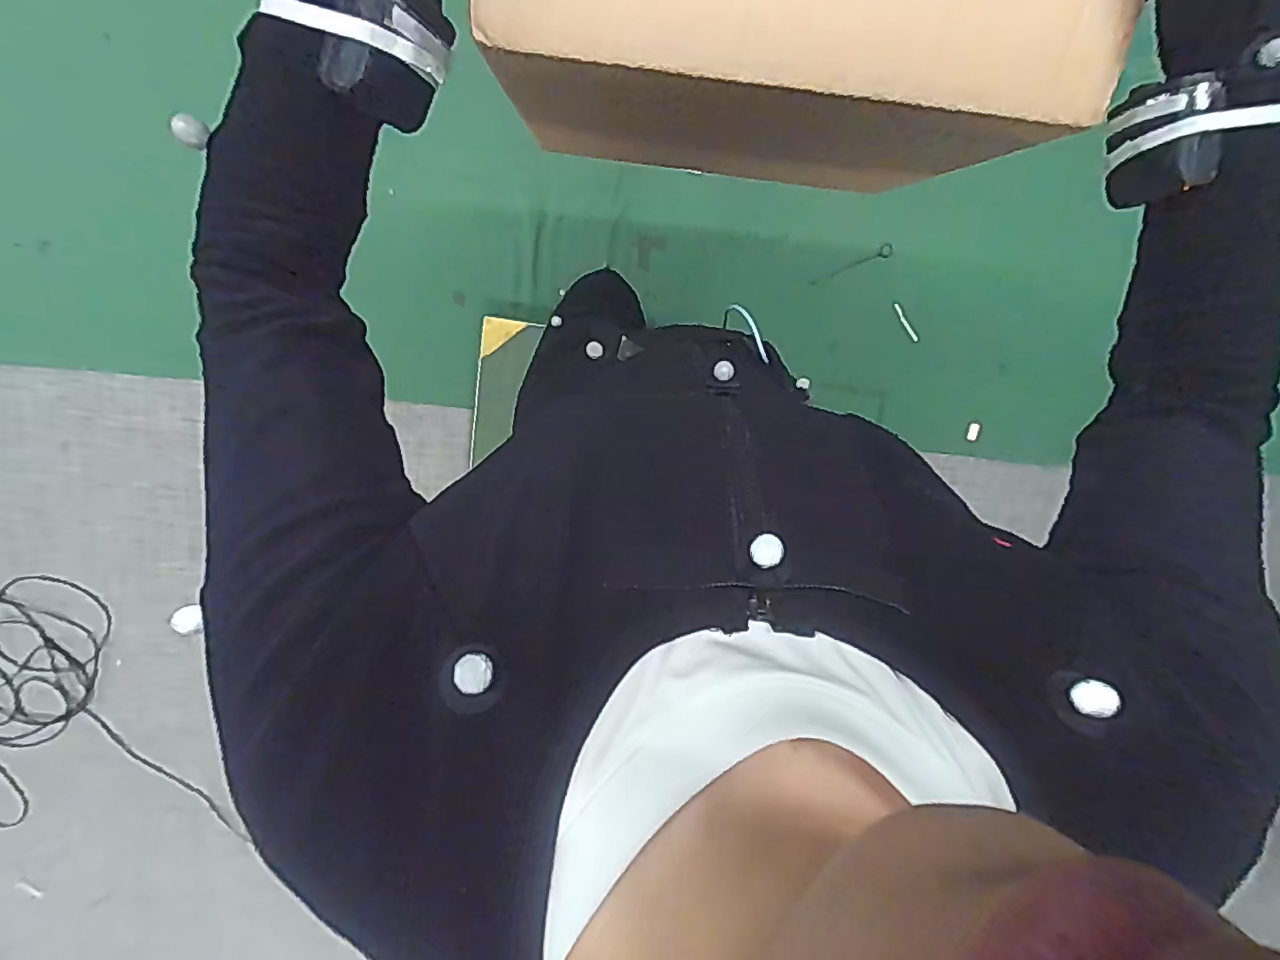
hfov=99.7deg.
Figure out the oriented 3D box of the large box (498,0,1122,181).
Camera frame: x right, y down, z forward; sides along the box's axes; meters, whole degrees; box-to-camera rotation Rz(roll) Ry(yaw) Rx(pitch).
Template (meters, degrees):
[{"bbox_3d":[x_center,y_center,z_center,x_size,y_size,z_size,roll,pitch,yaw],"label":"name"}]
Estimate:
[{"bbox_3d":[0.108,-0.454,0.437,0.408,0.320,0.320,4,111,-5],"label":"large box"}]
